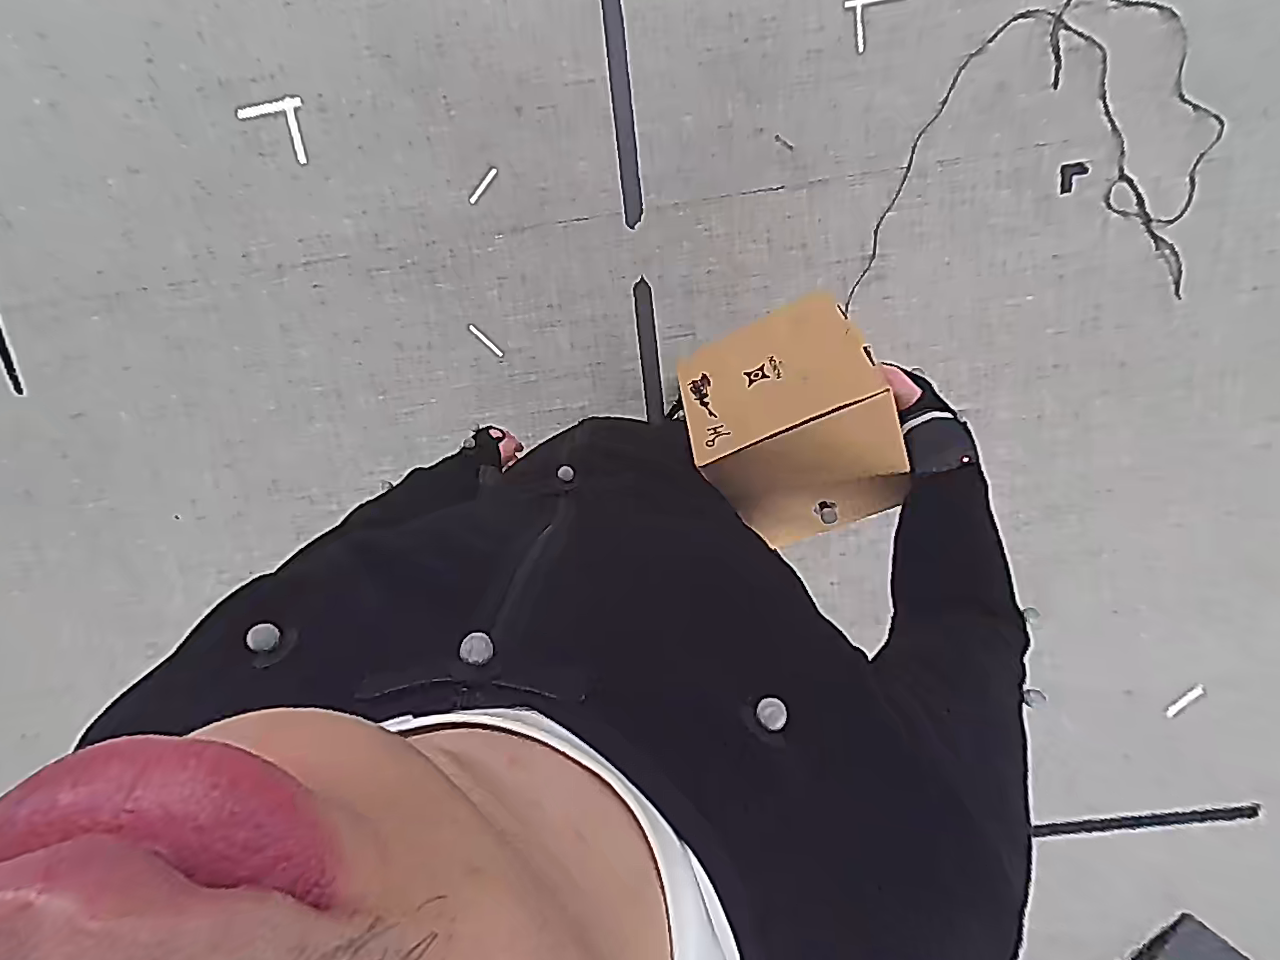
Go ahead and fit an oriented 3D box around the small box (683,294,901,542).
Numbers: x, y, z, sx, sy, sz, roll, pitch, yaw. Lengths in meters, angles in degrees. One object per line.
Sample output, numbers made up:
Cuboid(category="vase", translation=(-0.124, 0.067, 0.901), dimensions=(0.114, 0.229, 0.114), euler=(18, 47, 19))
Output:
Cuboid(category="small box", translation=(0.167, -0.060, 0.590), dimensions=(0.179, 0.168, 0.176), euler=(-22, 134, 17))
